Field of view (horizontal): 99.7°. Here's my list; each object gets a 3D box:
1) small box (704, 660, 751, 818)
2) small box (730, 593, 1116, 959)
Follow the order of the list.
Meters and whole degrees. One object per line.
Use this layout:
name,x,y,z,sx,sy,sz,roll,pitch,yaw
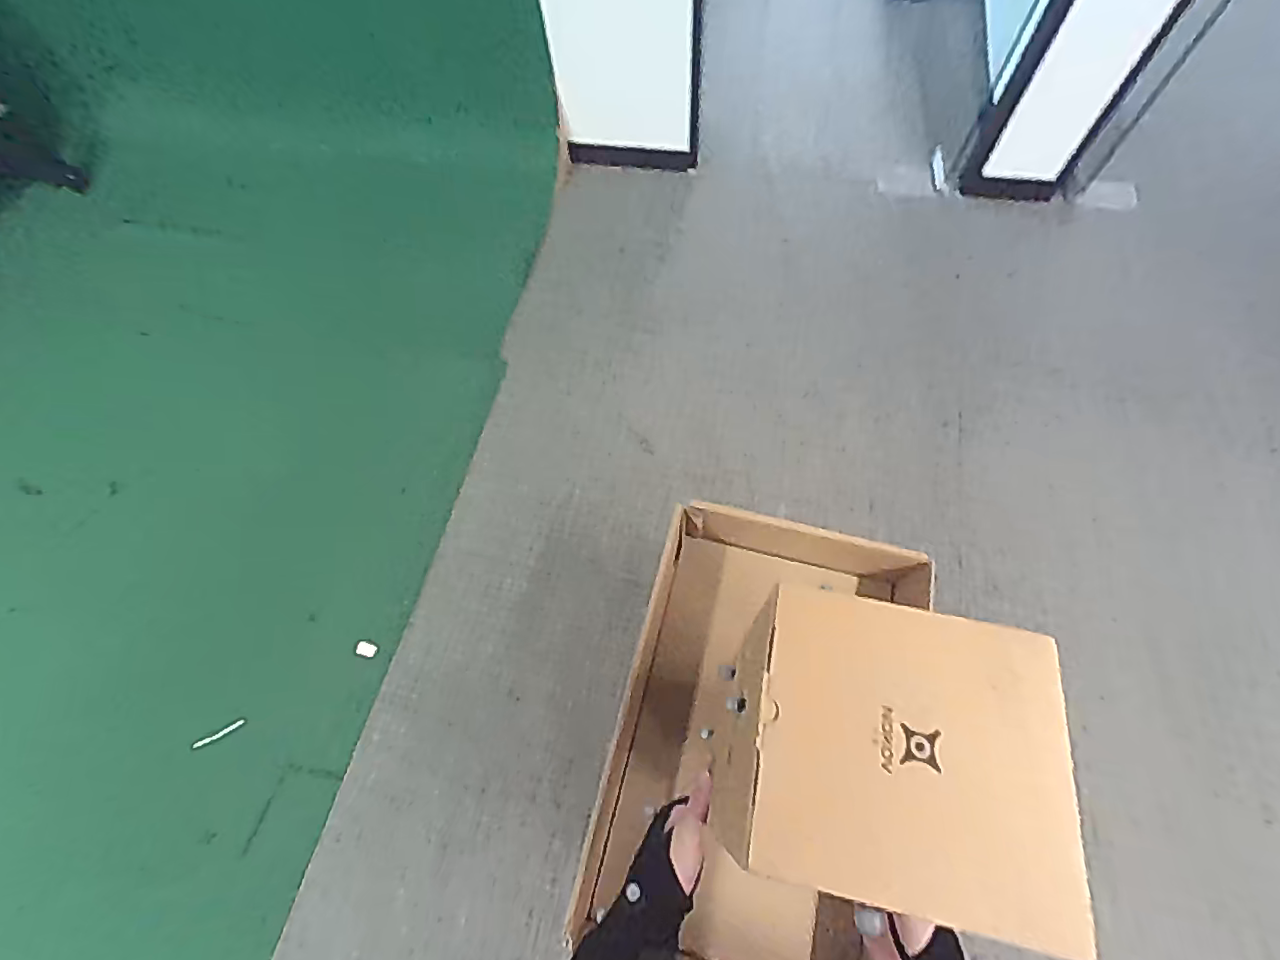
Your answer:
small box,0.183,0.340,0.668,0.179,0.176,0.168,11,62,9
small box,0.167,0.195,0.376,0.179,0.176,0.168,10,63,9
